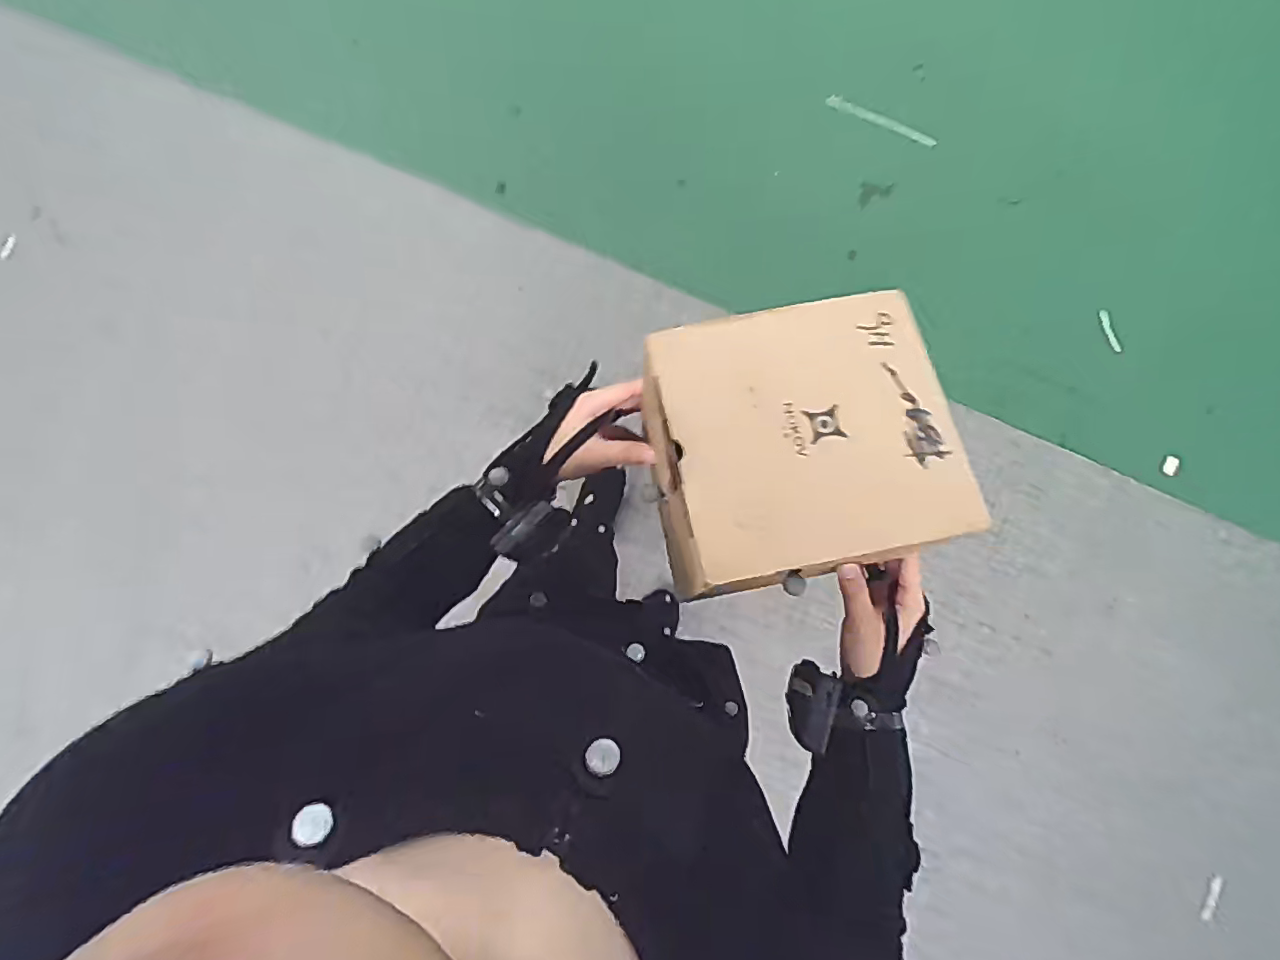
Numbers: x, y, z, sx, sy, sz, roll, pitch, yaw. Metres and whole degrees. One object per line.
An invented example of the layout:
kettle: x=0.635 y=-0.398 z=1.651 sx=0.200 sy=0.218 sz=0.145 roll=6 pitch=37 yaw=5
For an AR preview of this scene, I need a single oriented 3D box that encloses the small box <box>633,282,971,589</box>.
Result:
small box: x=0.098 y=-0.018 z=0.414 sx=0.179 sy=0.176 sz=0.168 roll=-12 pitch=75 yaw=-3
